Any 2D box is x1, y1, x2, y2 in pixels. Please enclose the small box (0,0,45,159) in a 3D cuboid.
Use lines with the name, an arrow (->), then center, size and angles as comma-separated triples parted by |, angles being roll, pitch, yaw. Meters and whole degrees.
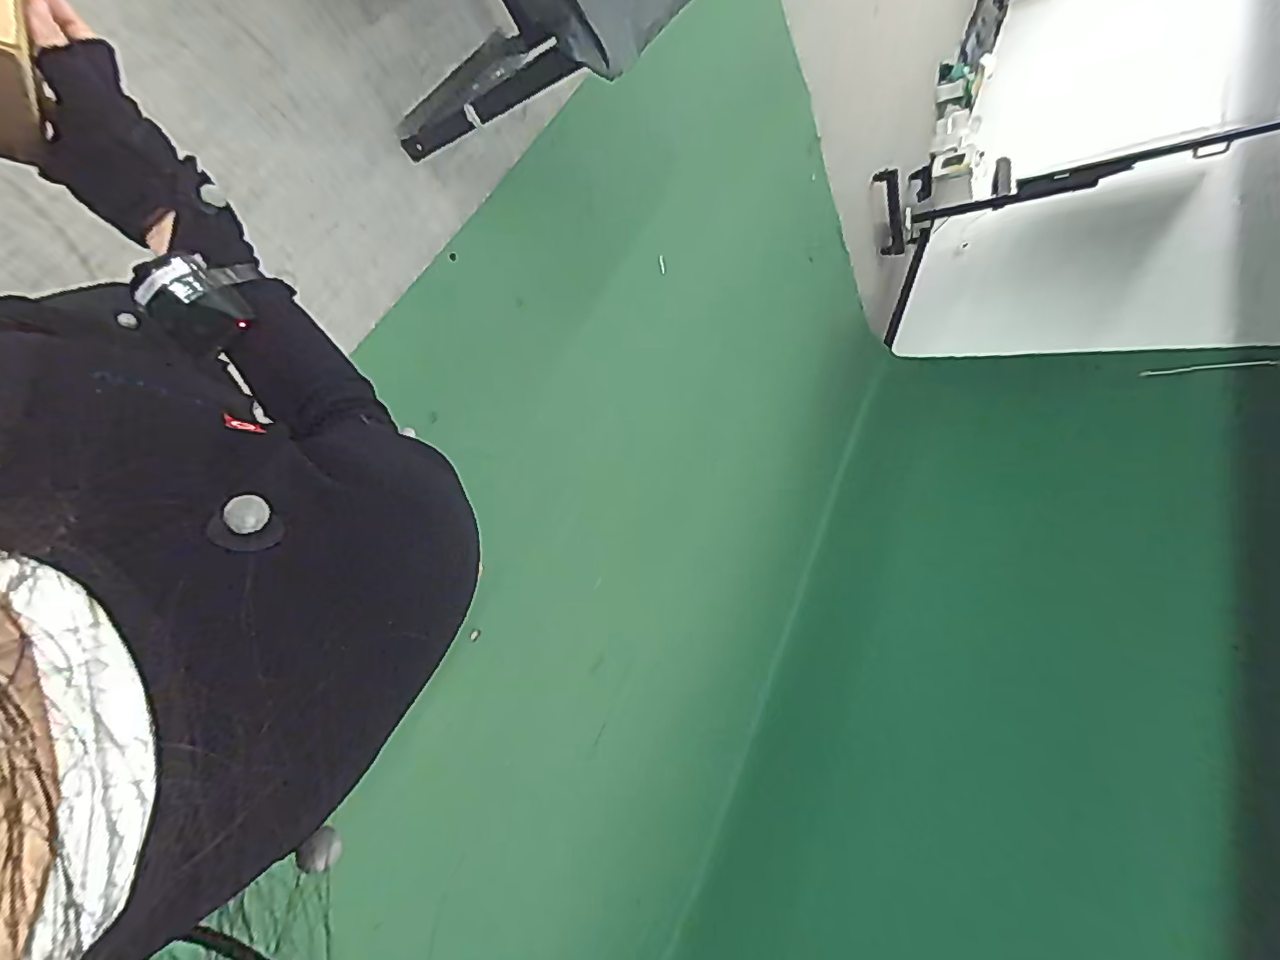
small box -> -0.459, -0.321, 0.297 | 0.168, 0.176, 0.179 | -4, 96, -44
